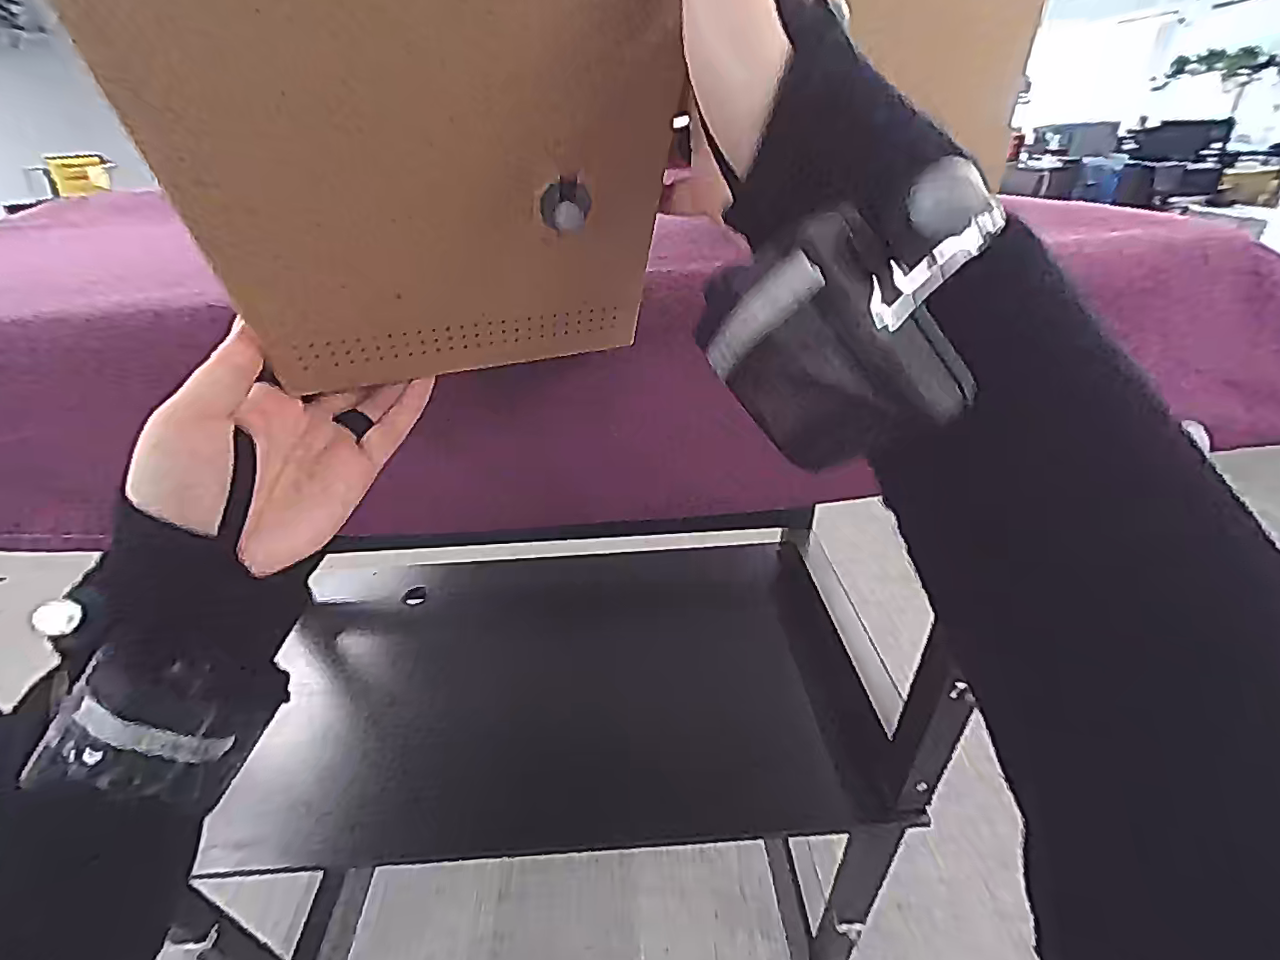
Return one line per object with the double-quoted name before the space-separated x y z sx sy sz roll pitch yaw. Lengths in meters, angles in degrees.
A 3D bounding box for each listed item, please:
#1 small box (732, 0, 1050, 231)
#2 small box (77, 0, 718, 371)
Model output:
"small box" 0.174 -0.304 0.430 0.179 0.176 0.168 -3 32 1
"small box" -0.091 -0.172 0.241 0.179 0.176 0.168 -13 63 -17
